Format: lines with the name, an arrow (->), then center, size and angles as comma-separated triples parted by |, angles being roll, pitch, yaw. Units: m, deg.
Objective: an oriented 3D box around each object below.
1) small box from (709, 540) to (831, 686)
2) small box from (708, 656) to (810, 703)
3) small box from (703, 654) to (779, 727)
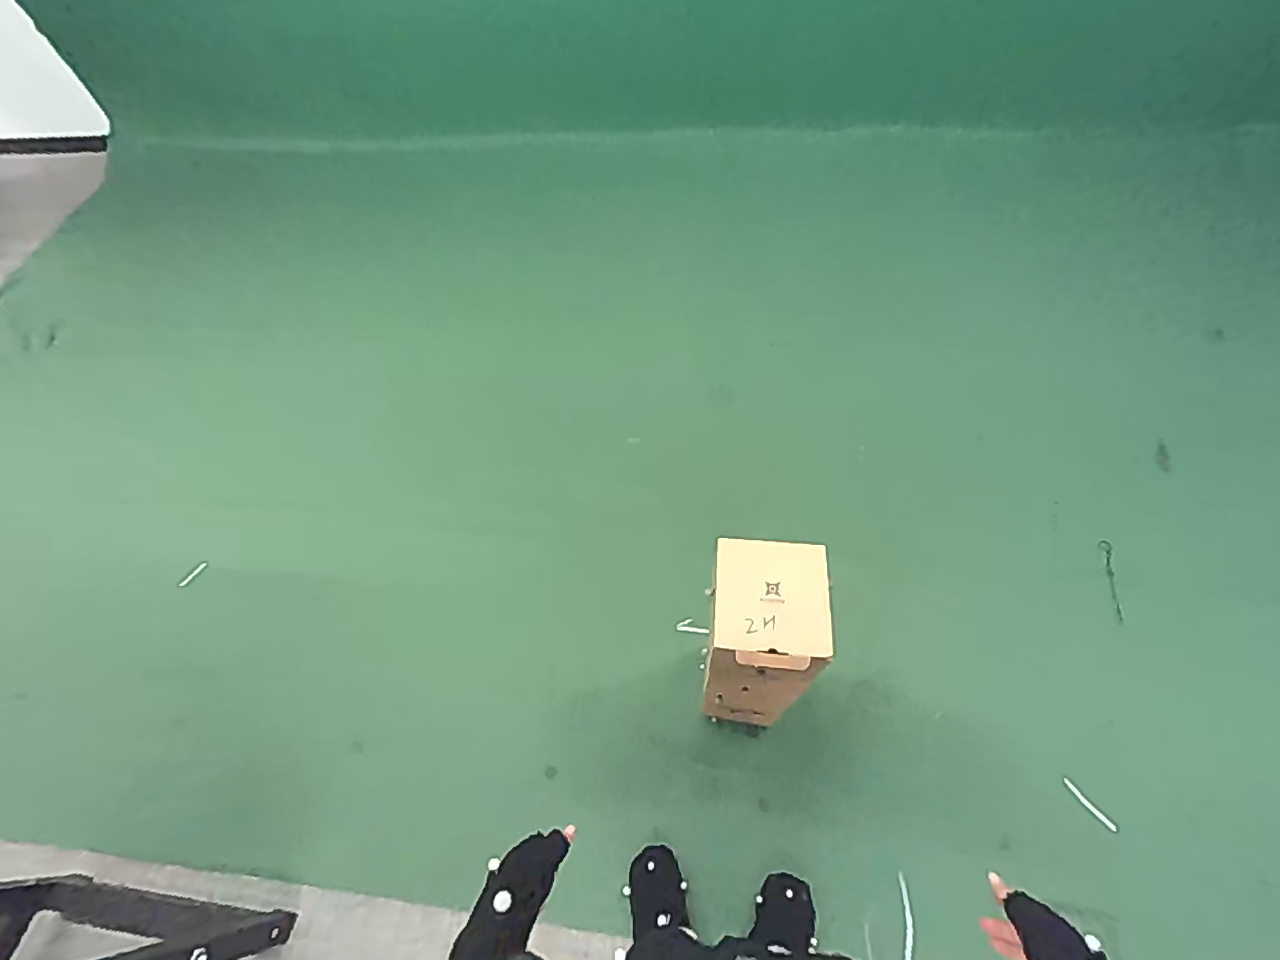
small box -> 0.199, 0.216, 0.868 | 0.168, 0.176, 0.179 | 3, 59, 7
small box -> 0.216, 0.301, 1.009 | 0.168, 0.176, 0.179 | 4, 59, 7
small box -> 0.240, 0.476, 1.285 | 0.168, 0.176, 0.179 | 6, 59, 8
